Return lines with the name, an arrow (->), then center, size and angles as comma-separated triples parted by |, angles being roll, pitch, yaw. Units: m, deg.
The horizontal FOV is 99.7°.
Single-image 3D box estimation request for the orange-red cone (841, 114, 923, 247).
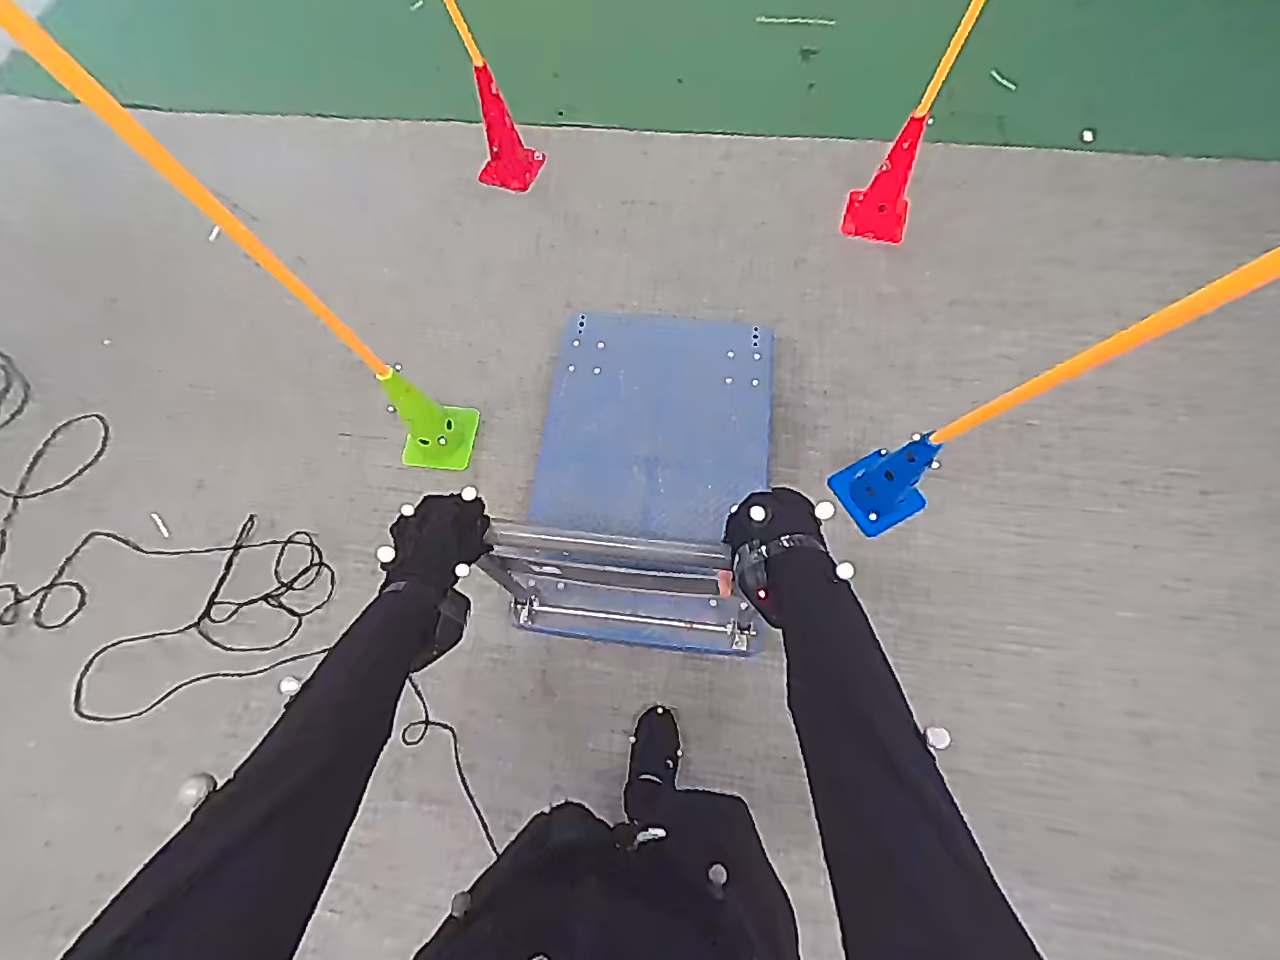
orange-red cone -> 0.771, -0.924, 1.641 | 0.198, 0.360, 0.199 | 17, 72, 10
